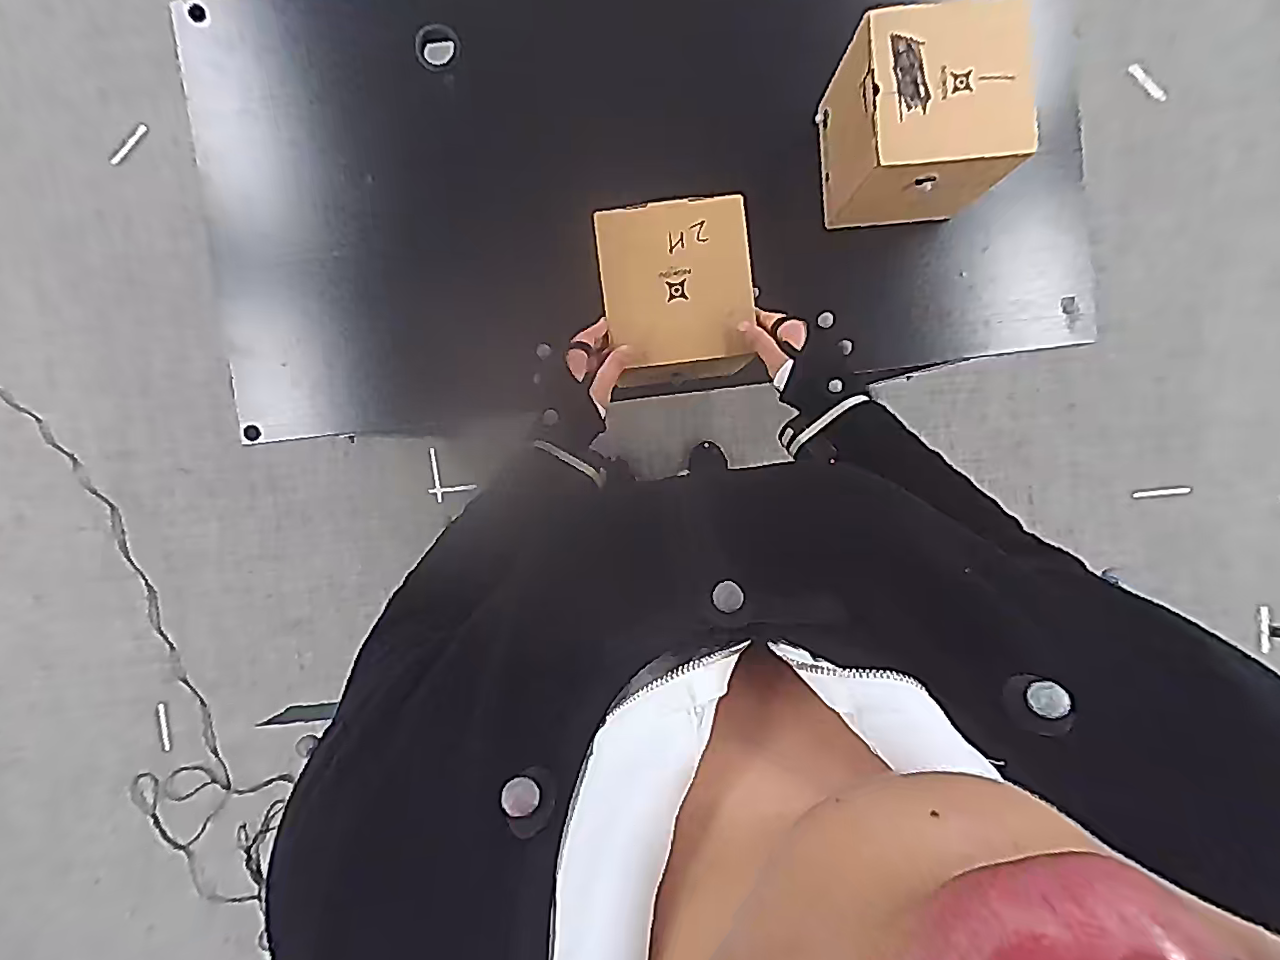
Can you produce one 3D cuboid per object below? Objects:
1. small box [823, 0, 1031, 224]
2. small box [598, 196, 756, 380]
[{"bbox_3d":[0.336,-0.434,0.668,0.179,0.176,0.168,-5,93,0],"label":"small box"},{"bbox_3d":[0.043,-0.226,0.682,0.168,0.176,0.179,-7,93,0],"label":"small box"}]
